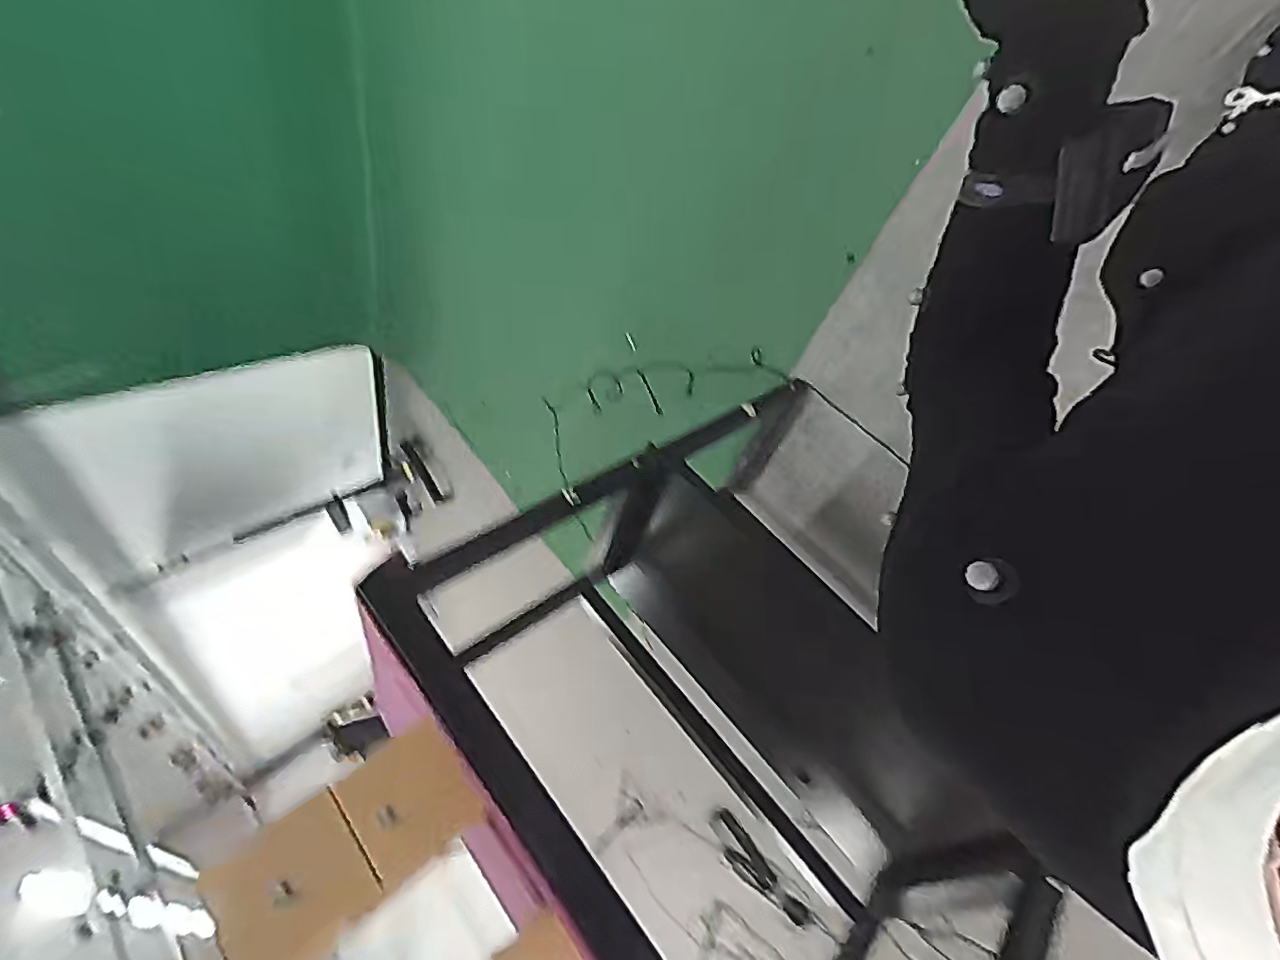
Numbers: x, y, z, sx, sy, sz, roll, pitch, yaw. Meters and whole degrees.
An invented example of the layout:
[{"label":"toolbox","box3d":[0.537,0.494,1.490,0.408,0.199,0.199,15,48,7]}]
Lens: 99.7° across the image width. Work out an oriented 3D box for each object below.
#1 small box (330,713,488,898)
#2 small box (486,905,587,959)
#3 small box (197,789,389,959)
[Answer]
[{"label":"small box","box3d":[-0.366,0.519,0.873,0.179,0.176,0.168,45,139,21]},{"label":"small box","box3d":[-0.149,0.754,0.764,0.179,0.176,0.168,47,141,18]},{"label":"small box","box3d":[-0.483,0.579,0.774,0.179,0.176,0.168,43,138,21]}]
